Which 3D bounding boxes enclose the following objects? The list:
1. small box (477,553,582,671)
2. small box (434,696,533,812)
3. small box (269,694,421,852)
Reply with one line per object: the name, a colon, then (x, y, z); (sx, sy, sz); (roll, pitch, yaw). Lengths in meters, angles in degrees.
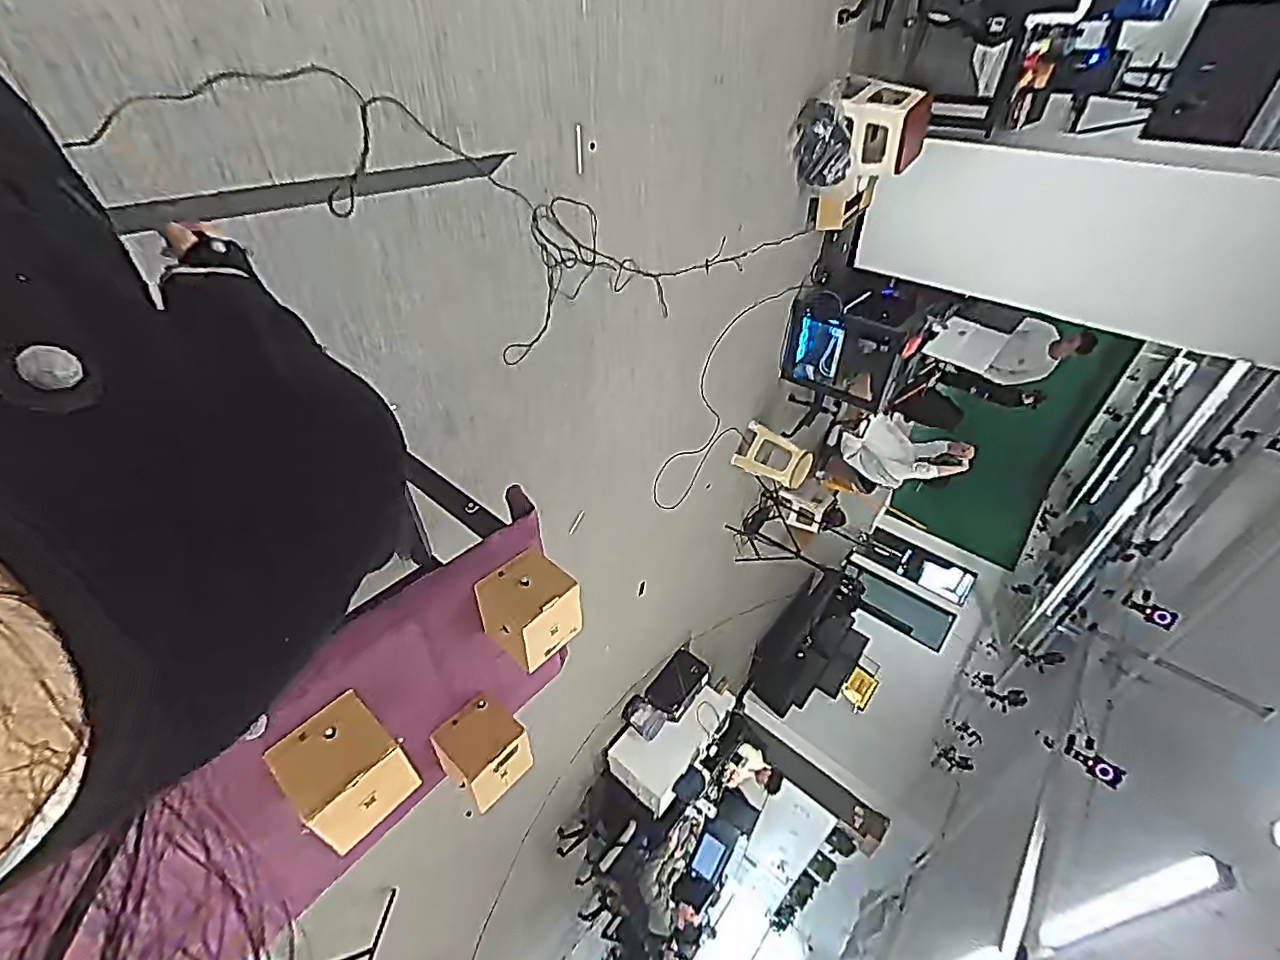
small box: (-0.254, 0.292, 1.244); (0.168, 0.176, 0.179); (-35, 141, -36)
small box: (-0.393, 0.676, 1.358); (0.168, 0.176, 0.179); (-35, 140, -37)
small box: (-0.547, 0.540, 1.011); (0.168, 0.176, 0.179); (-37, 144, -35)
